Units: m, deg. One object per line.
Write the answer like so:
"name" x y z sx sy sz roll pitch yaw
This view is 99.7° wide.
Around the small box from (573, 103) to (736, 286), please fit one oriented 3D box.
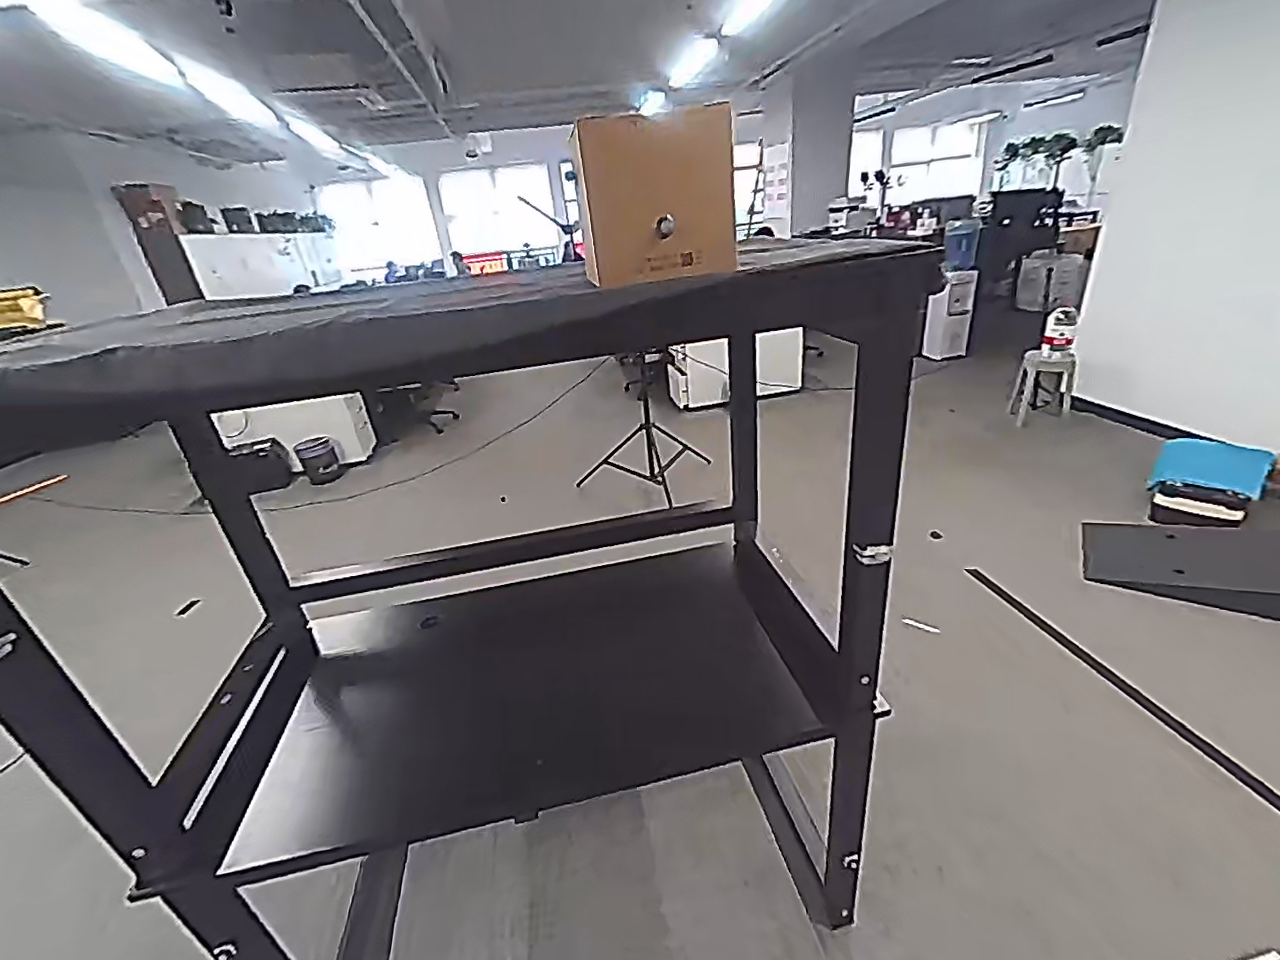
"small box" 0.013 -0.338 0.665 0.168 0.176 0.179 -11 25 -6
